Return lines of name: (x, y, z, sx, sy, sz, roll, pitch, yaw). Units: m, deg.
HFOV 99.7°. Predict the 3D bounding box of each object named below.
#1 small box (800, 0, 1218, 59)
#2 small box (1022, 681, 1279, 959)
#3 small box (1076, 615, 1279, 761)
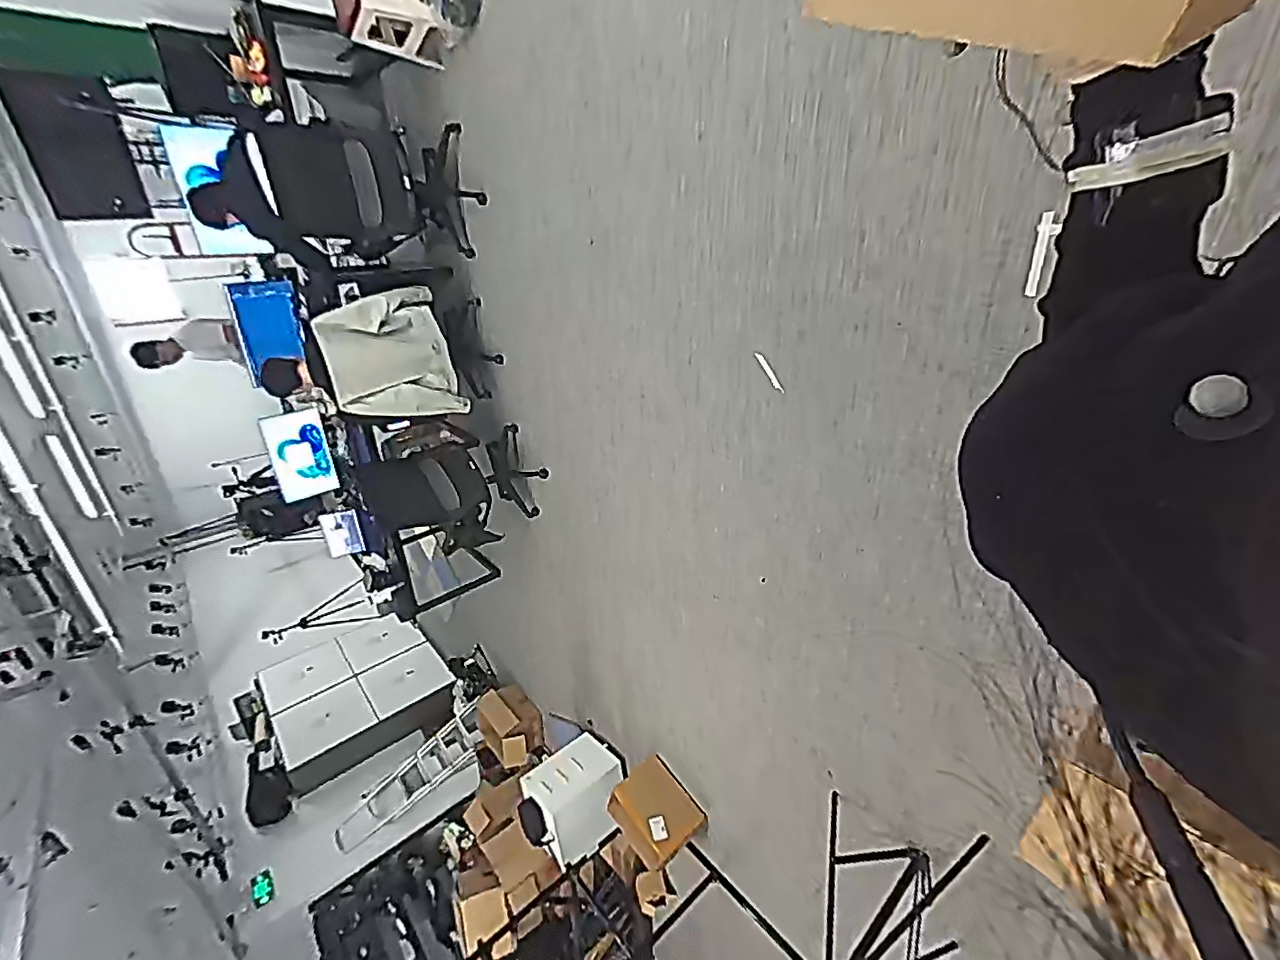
small box: (0.204, -0.311, 0.234, 0.179, 0.176, 0.168, 38, 150, 29)
small box: (0.552, 0.355, 0.576, 0.168, 0.176, 0.179, 29, 131, 42)
small box: (0.674, 0.300, 0.669, 0.168, 0.176, 0.179, 28, 130, 41)
